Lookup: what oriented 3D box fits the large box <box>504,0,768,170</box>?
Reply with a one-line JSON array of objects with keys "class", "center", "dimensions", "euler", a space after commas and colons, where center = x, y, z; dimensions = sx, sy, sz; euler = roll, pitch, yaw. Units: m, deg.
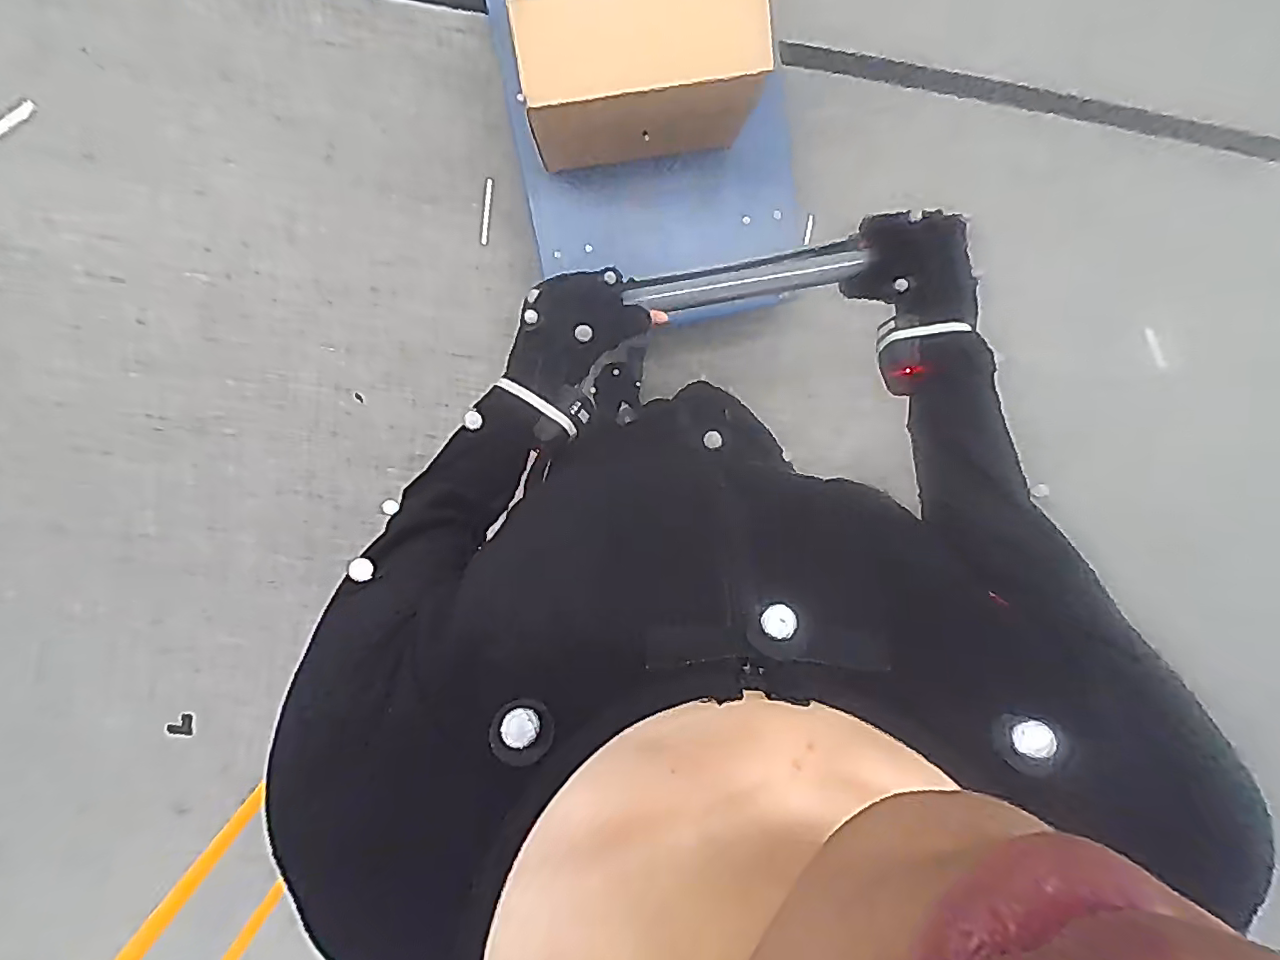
[{"class": "large box", "center": [-0.018, -0.804, 0.979], "dimensions": [0.408, 0.320, 0.320], "euler": [-9, 103, 0]}]

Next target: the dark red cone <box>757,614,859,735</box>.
[{"class": "dark red cone", "center": [0.458, 0.521, 1.407], "dimensions": [0.201, 0.394, 0.202], "euler": [8, 102, -6]}]
